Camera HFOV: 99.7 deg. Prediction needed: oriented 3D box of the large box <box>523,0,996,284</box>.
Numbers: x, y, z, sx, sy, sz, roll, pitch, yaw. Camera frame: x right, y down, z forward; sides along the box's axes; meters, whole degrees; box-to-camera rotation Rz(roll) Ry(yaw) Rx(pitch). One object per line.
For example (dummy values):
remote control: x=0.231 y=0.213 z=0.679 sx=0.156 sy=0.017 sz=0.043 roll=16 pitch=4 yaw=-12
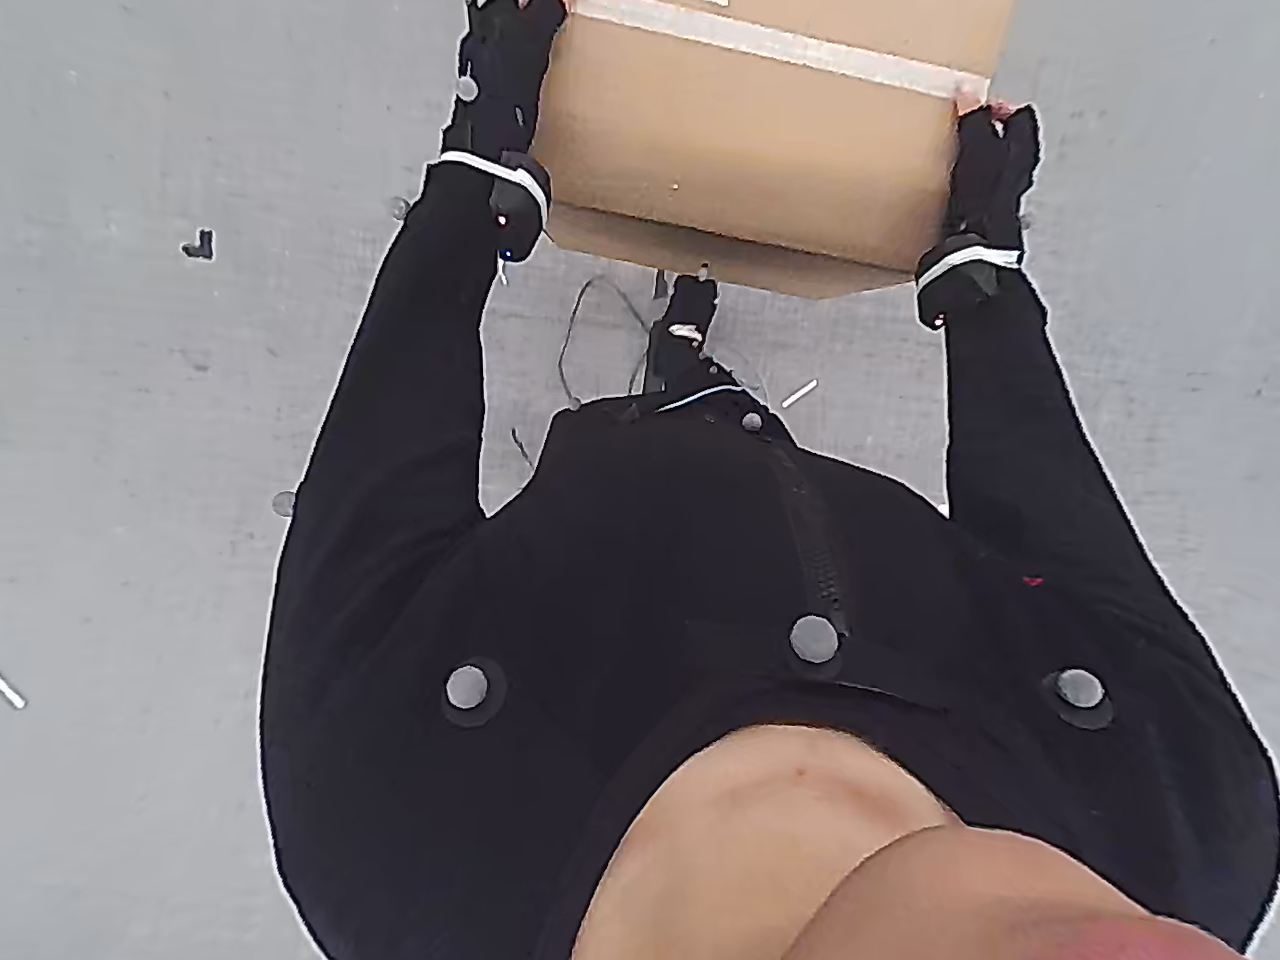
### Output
large box: x=0.107 y=-0.429 z=0.628 sx=0.408 sy=0.320 sz=0.320 roll=10 pitch=103 yaw=-4
